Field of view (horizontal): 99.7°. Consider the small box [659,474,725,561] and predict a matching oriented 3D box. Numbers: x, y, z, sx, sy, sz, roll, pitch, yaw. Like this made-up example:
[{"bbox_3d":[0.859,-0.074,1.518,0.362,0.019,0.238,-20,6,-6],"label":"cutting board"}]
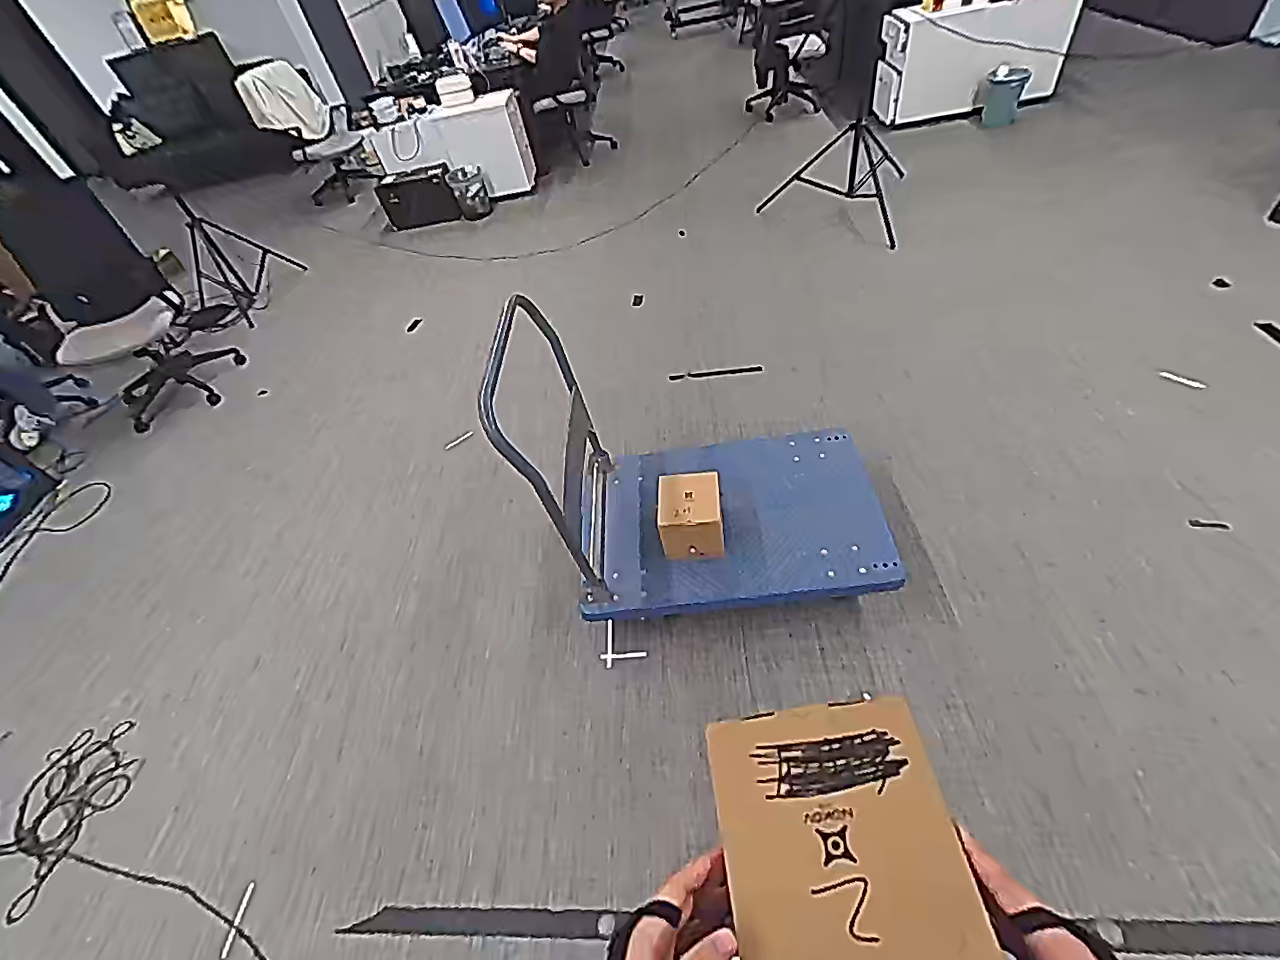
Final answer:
[{"bbox_3d":[0.149,0.106,1.512,0.168,0.176,0.179,-5,48,9],"label":"small box"}]
